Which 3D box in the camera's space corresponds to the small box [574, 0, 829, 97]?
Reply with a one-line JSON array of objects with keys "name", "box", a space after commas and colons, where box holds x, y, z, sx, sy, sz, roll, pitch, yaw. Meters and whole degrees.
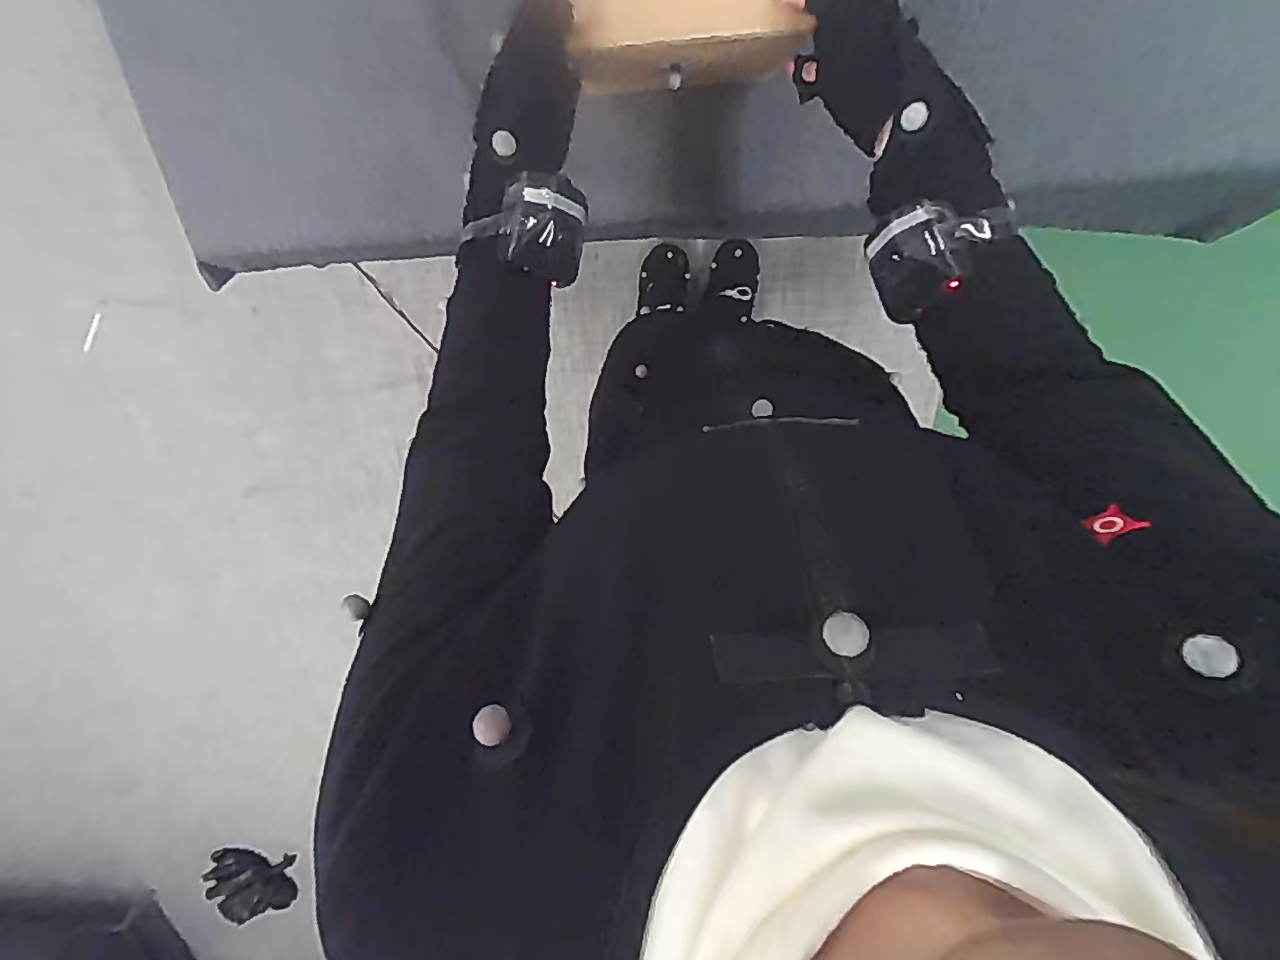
[{"name": "small box", "box": [0.034, -0.414, 0.413, 0.179, 0.176, 0.168, -7, 117, 3]}]
